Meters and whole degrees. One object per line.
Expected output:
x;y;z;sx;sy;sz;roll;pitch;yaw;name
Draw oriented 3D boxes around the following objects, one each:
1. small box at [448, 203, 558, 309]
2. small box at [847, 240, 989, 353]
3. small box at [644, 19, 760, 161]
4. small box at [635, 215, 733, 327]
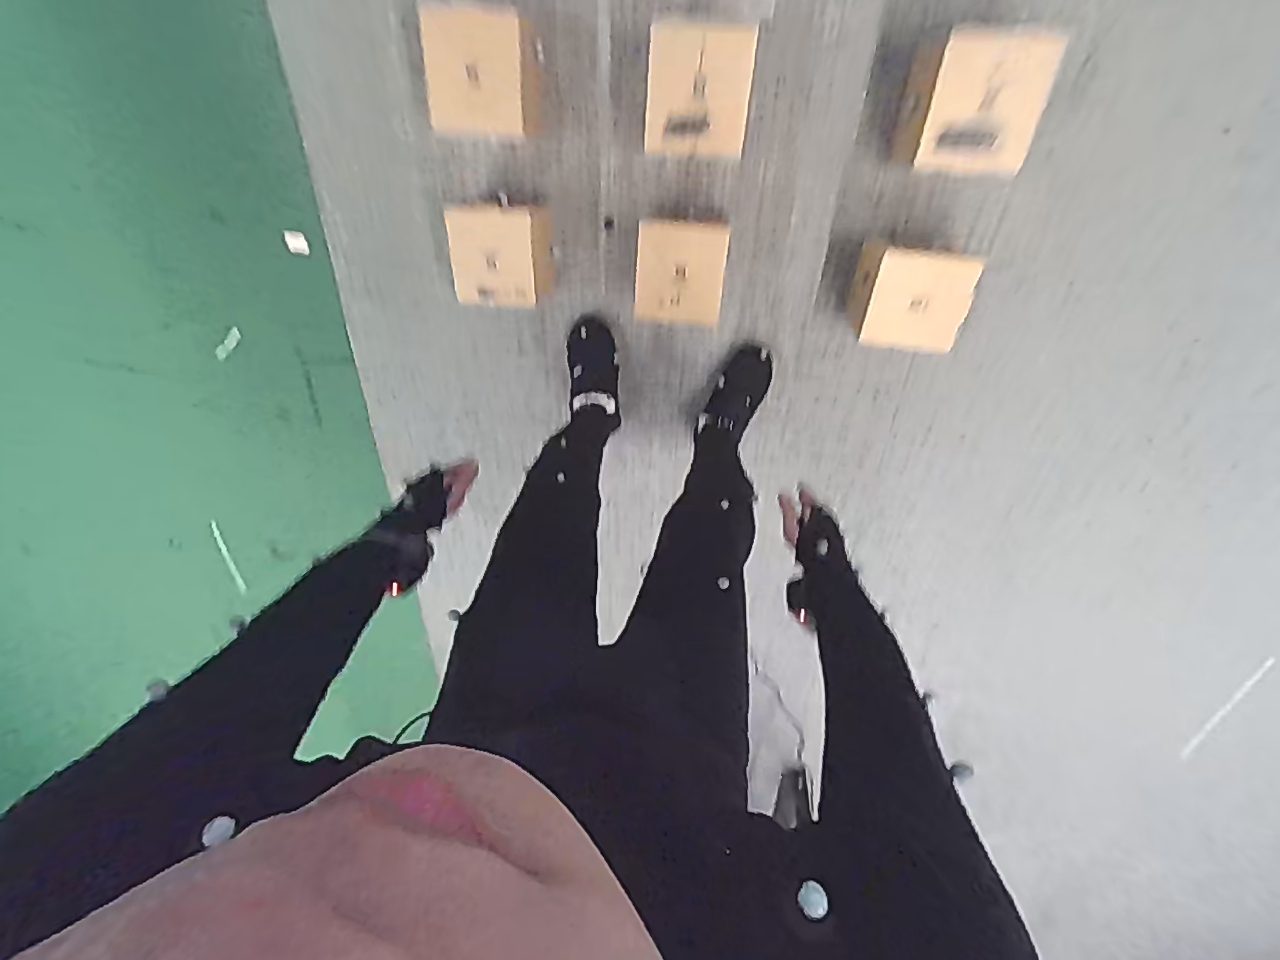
-0.268;-0.459;1.096;0.168;0.176;0.179;6;121;6;small box
0.516;-0.358;1.038;0.179;0.176;0.168;7;122;4;small box
0.104;-0.652;0.919;0.168;0.176;0.179;7;122;4;small box
0.087;-0.417;1.066;0.168;0.176;0.179;7;122;5;small box
